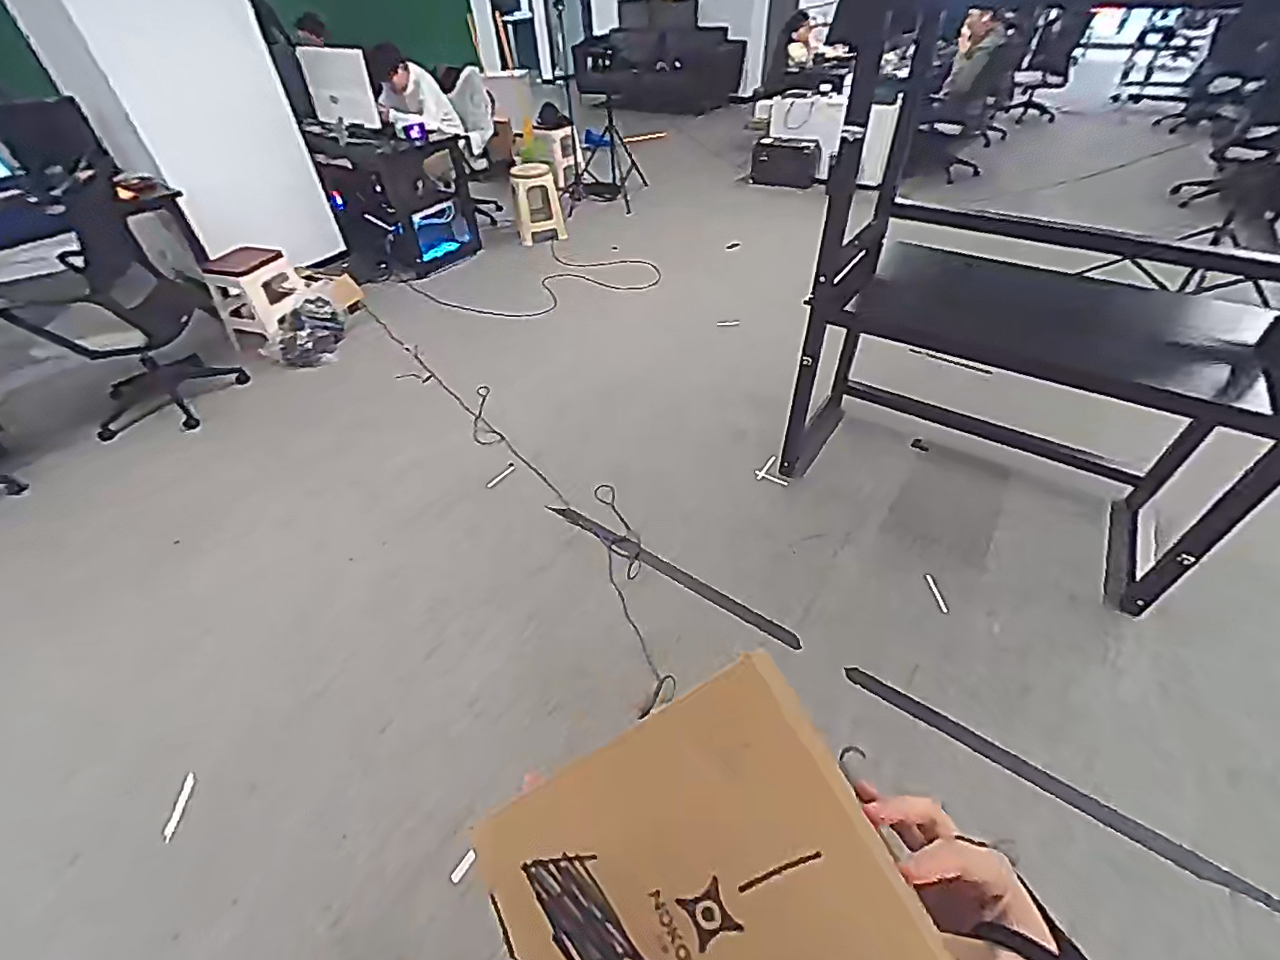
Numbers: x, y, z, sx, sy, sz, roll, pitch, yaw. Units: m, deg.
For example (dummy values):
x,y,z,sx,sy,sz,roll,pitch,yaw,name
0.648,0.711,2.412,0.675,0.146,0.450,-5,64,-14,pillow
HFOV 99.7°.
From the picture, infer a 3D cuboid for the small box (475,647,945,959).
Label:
x,y,z,sx,sy,sz,roll,pitch,yaw,name
0.043,0.215,0.318,0.179,0.176,0.168,-32,69,3,small box
